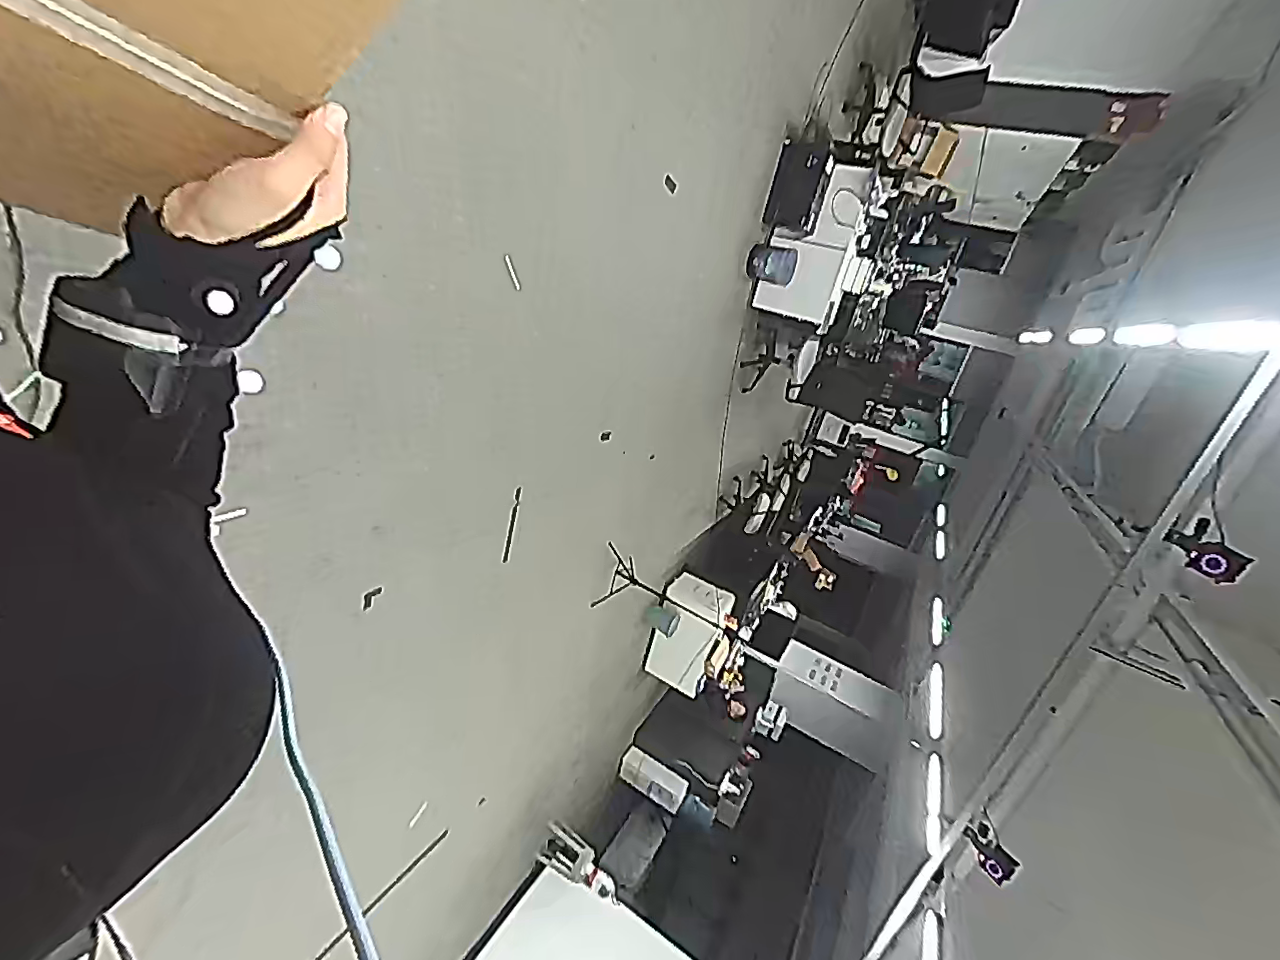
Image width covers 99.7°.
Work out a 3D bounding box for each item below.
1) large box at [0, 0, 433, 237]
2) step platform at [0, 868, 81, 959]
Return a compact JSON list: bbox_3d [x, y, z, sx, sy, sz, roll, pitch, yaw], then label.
[{"bbox_3d":[-0.299,-0.353,0.151,0.408,0.320,0.320,3,74,-56],"label":"large box"},{"bbox_3d":[-1.539,1.111,1.013,0.684,0.204,0.286,-13,123,-62],"label":"step platform"}]
